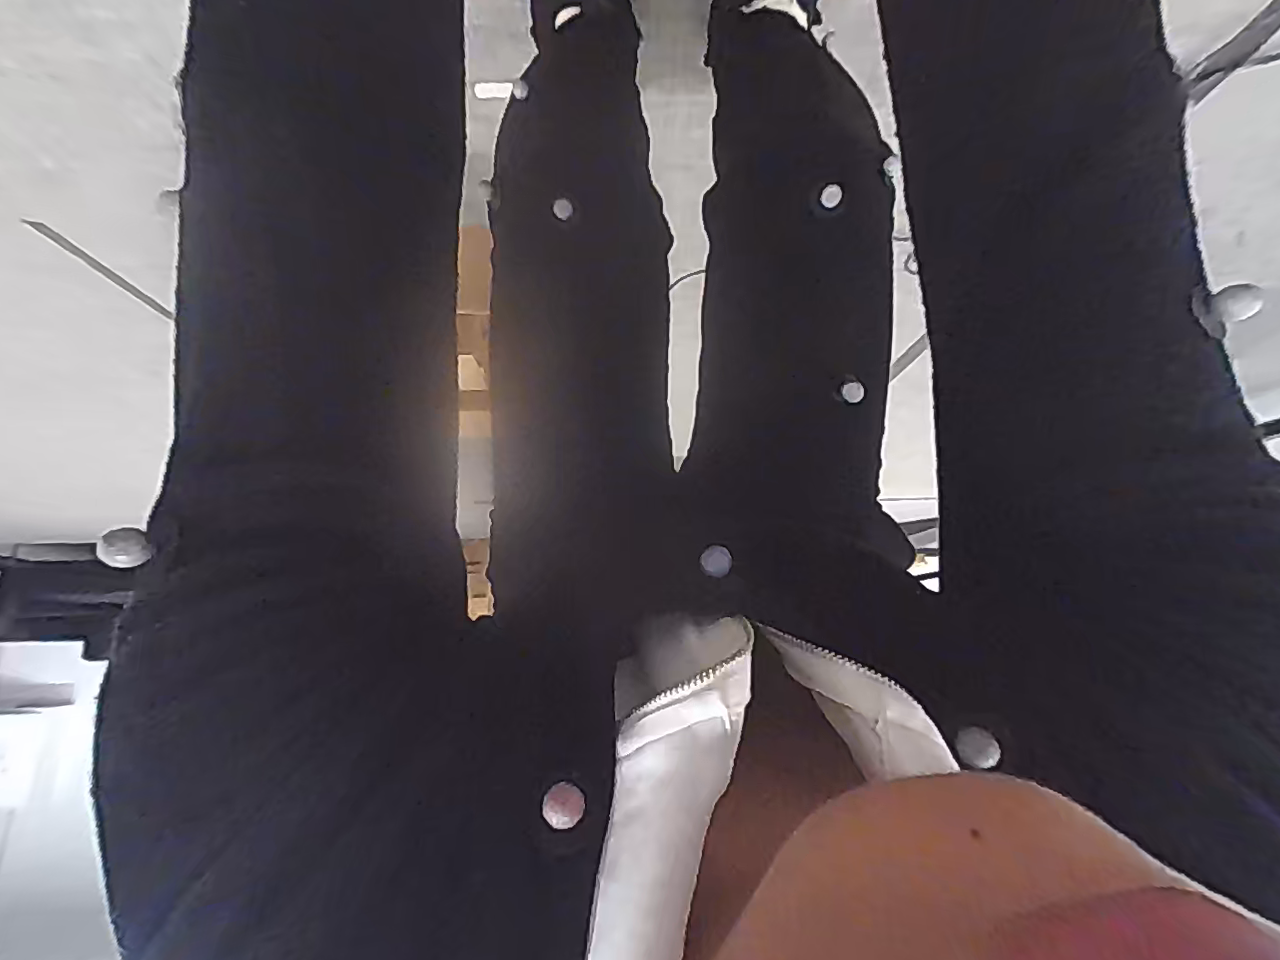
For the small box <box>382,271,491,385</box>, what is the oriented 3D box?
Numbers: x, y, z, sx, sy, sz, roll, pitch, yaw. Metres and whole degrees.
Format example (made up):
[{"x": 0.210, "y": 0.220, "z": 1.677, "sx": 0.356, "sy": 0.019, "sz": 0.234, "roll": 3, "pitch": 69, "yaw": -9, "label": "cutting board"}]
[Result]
[{"x": -0.405, "y": -0.306, "z": 1.101, "sx": 0.179, "sy": 0.176, "sz": 0.168, "roll": -1, "pitch": 165, "yaw": -6, "label": "small box"}]
